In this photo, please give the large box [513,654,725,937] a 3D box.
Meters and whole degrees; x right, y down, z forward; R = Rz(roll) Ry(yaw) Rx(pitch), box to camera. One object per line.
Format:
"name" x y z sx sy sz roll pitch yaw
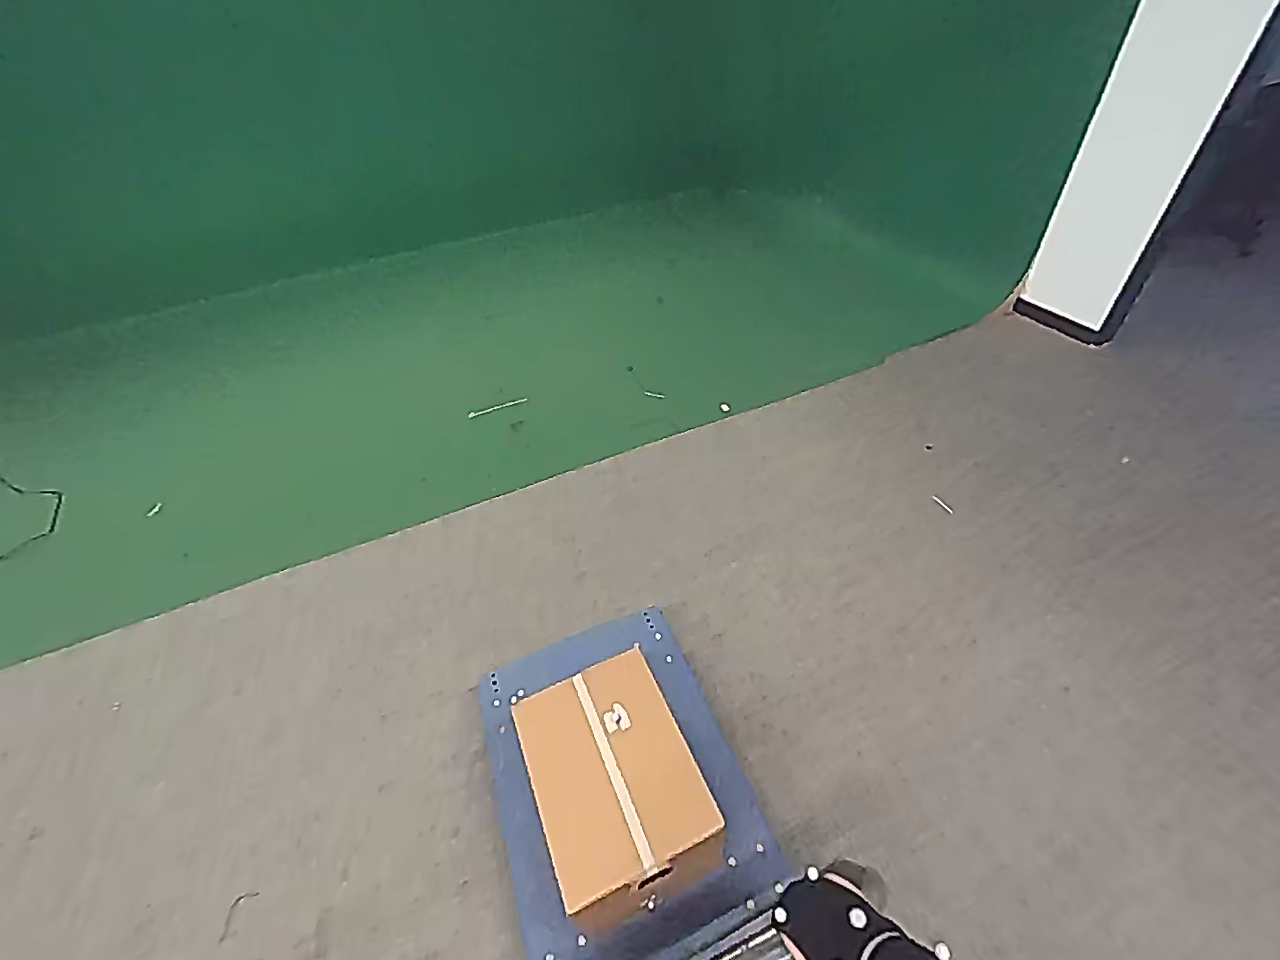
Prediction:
"large box" -0.045 0.684 1.200 0.320 0.320 0.408 -21 45 -14
